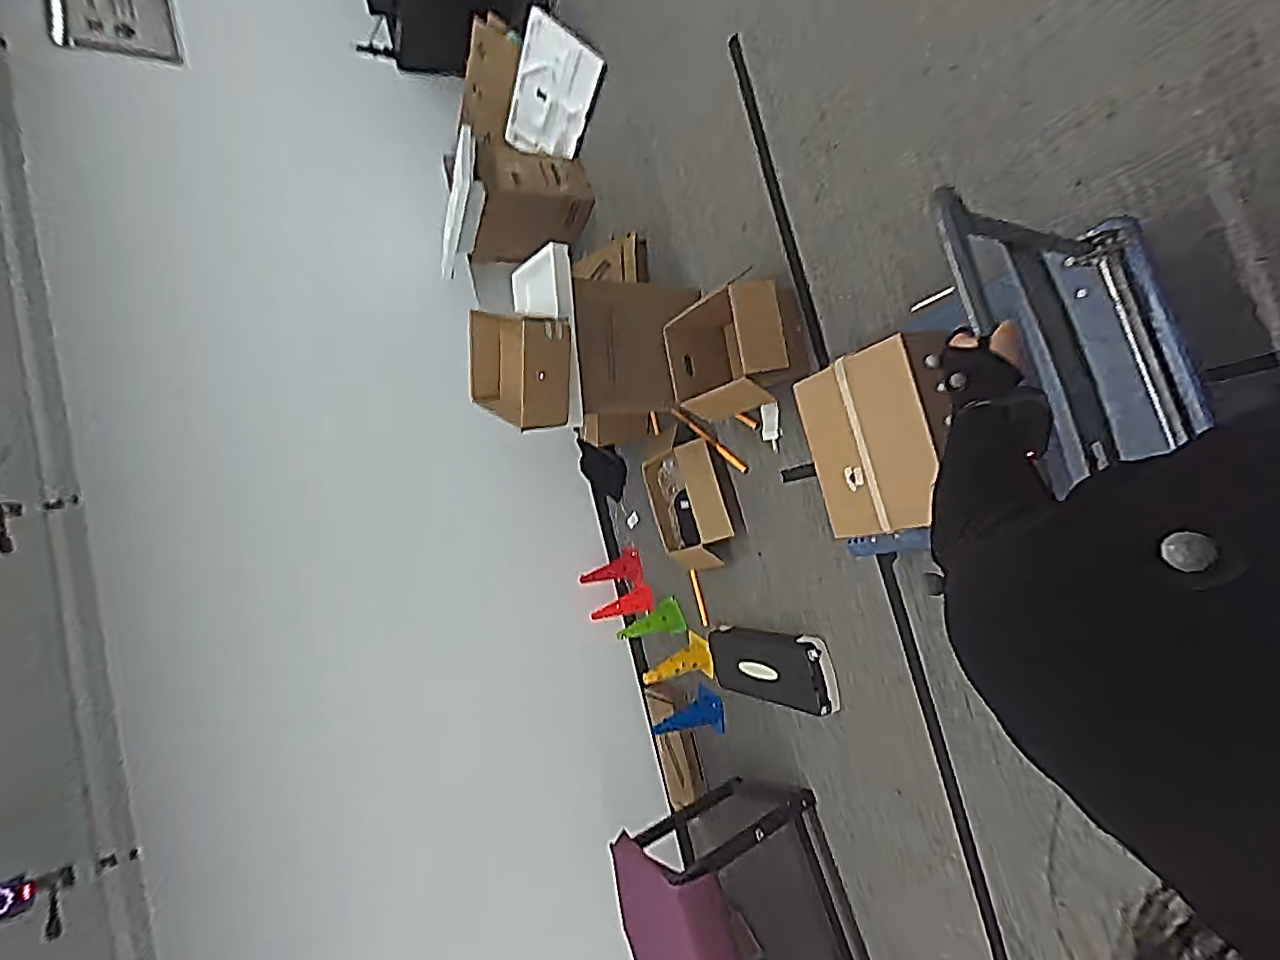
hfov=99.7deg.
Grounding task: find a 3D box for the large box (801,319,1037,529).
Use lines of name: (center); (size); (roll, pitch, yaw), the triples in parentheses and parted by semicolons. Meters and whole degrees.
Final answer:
large box: (0.652, -0.128, 1.286); (0.320, 0.320, 0.408); (-24, 81, 60)
